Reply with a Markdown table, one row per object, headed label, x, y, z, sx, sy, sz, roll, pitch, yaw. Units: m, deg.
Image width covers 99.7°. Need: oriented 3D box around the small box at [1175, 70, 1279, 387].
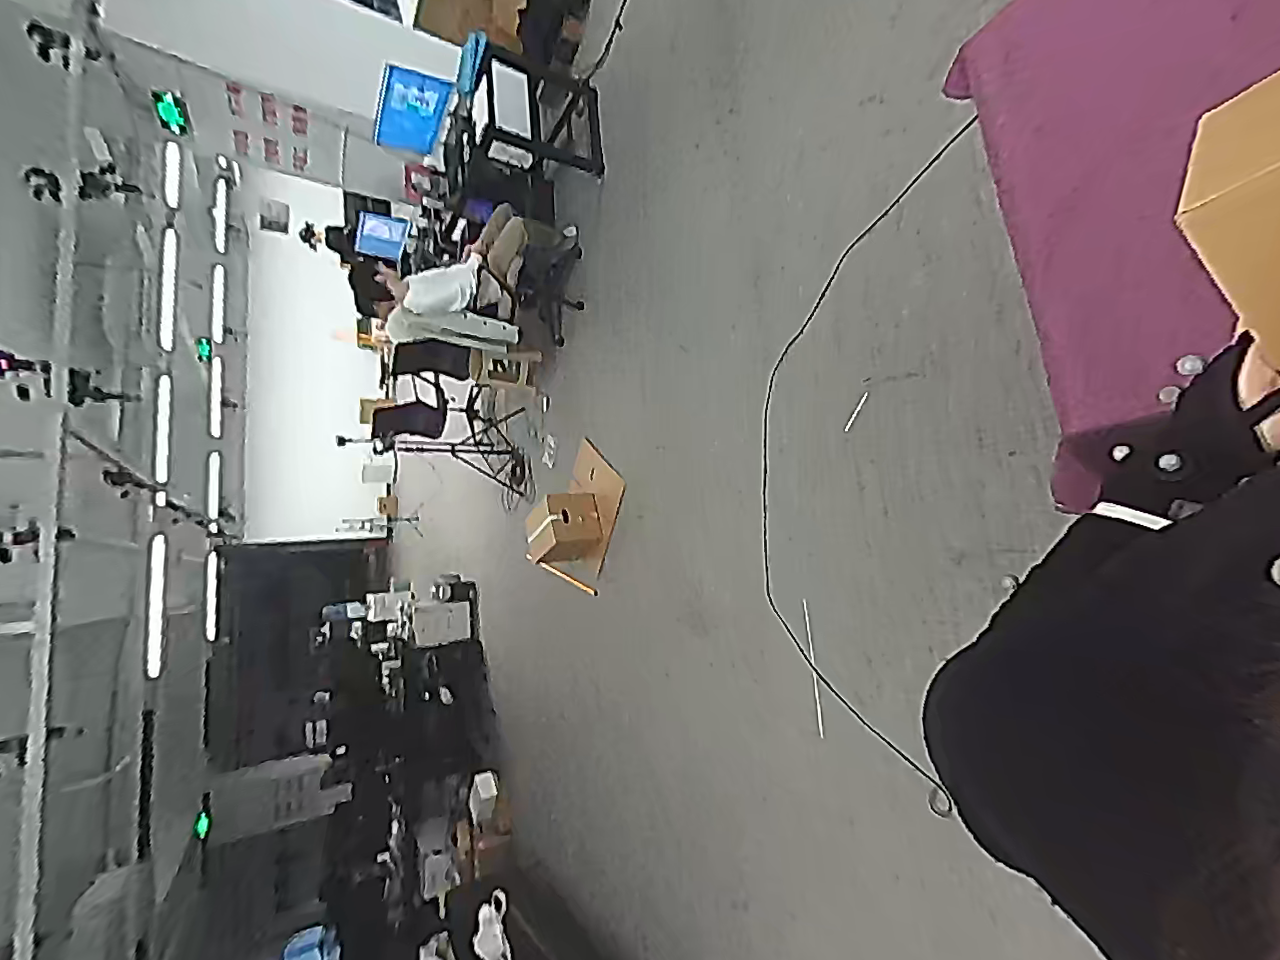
| label | x | y | z | sx | sy | sz | roll | pitch | yaw |
| --- | --- | --- | --- | --- | --- | --- | --- | --- | --- |
| small box | 0.480 | -0.188 | 0.324 | 0.168 | 0.176 | 0.179 | 46 | 151 | -11 |
